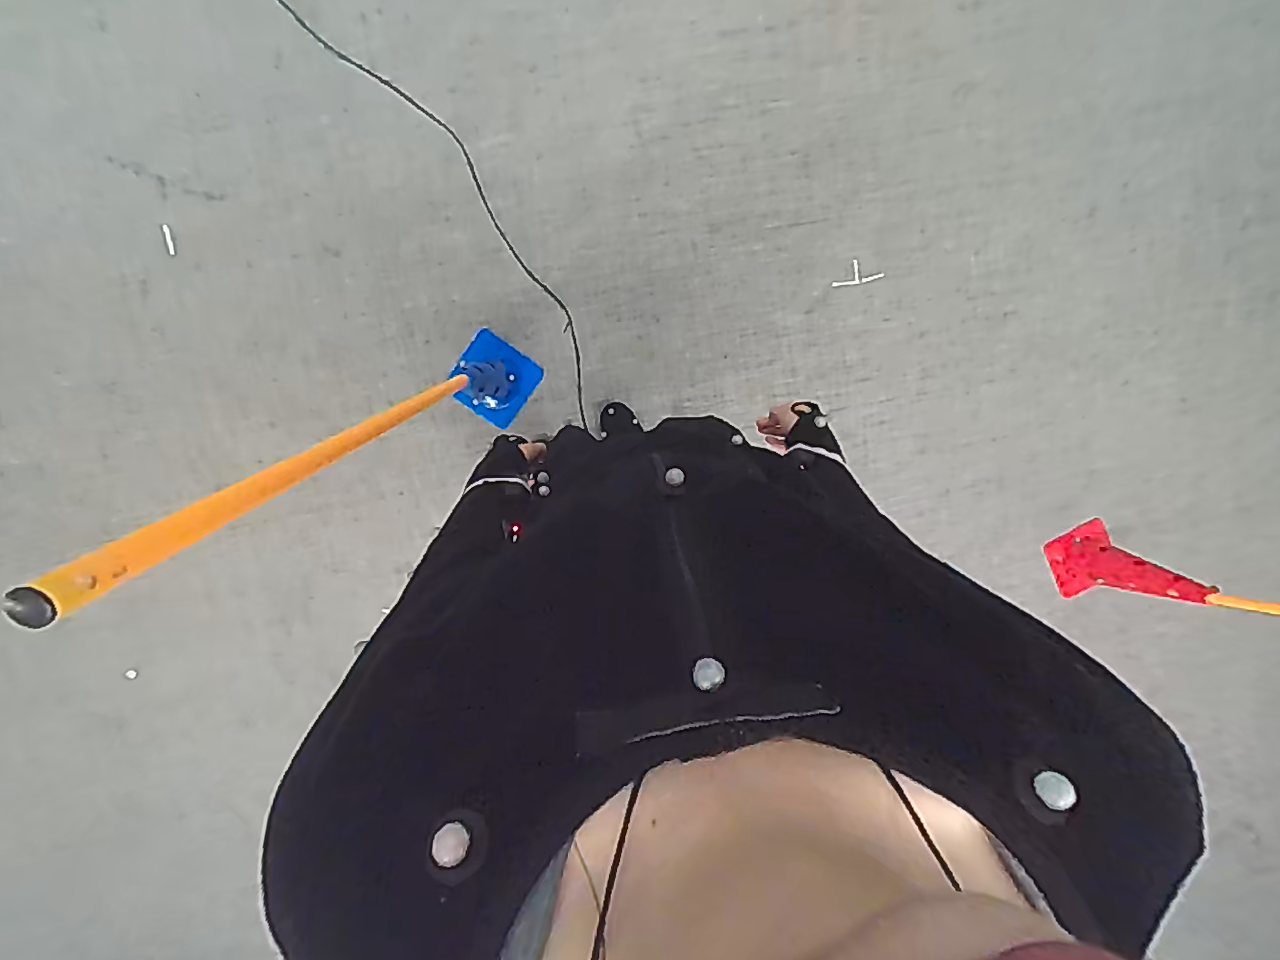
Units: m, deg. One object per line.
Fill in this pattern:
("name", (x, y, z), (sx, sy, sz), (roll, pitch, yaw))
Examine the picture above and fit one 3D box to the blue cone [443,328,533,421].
("blue cone", (-0.374, -0.235, 1.236), (0.192, 0.380, 0.193), (33, 97, -11))
